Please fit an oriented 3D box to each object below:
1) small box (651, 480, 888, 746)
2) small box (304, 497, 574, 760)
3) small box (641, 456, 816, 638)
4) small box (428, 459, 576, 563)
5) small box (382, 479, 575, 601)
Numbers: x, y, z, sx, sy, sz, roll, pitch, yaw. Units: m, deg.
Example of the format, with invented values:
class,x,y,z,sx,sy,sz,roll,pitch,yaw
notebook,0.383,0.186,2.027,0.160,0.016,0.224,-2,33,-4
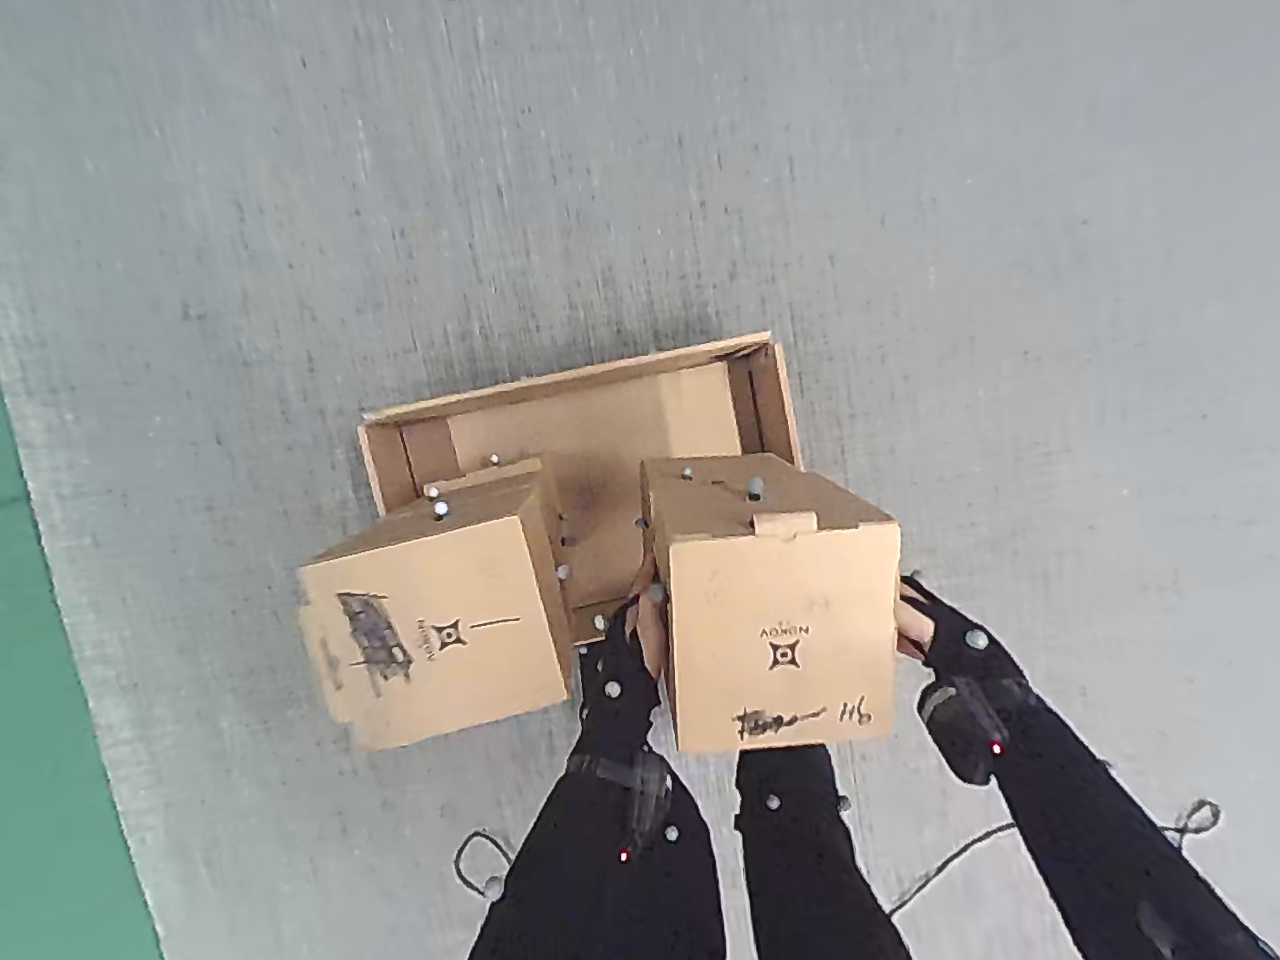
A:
class,x,y,z,sx,sy,sz,roll,pitch,yaw
small box,0.100,0.100,0.483,0.168,0.176,0.179,-5,102,-1
small box,-0.168,0.123,0.514,0.179,0.176,0.168,-14,98,-3
small box,0.096,0.068,0.644,0.179,0.176,0.168,-4,103,-1
small box,-0.199,0.073,0.836,0.168,0.176,0.179,-15,96,-3
small box,-0.185,0.102,0.677,0.179,0.176,0.168,-14,98,-4
